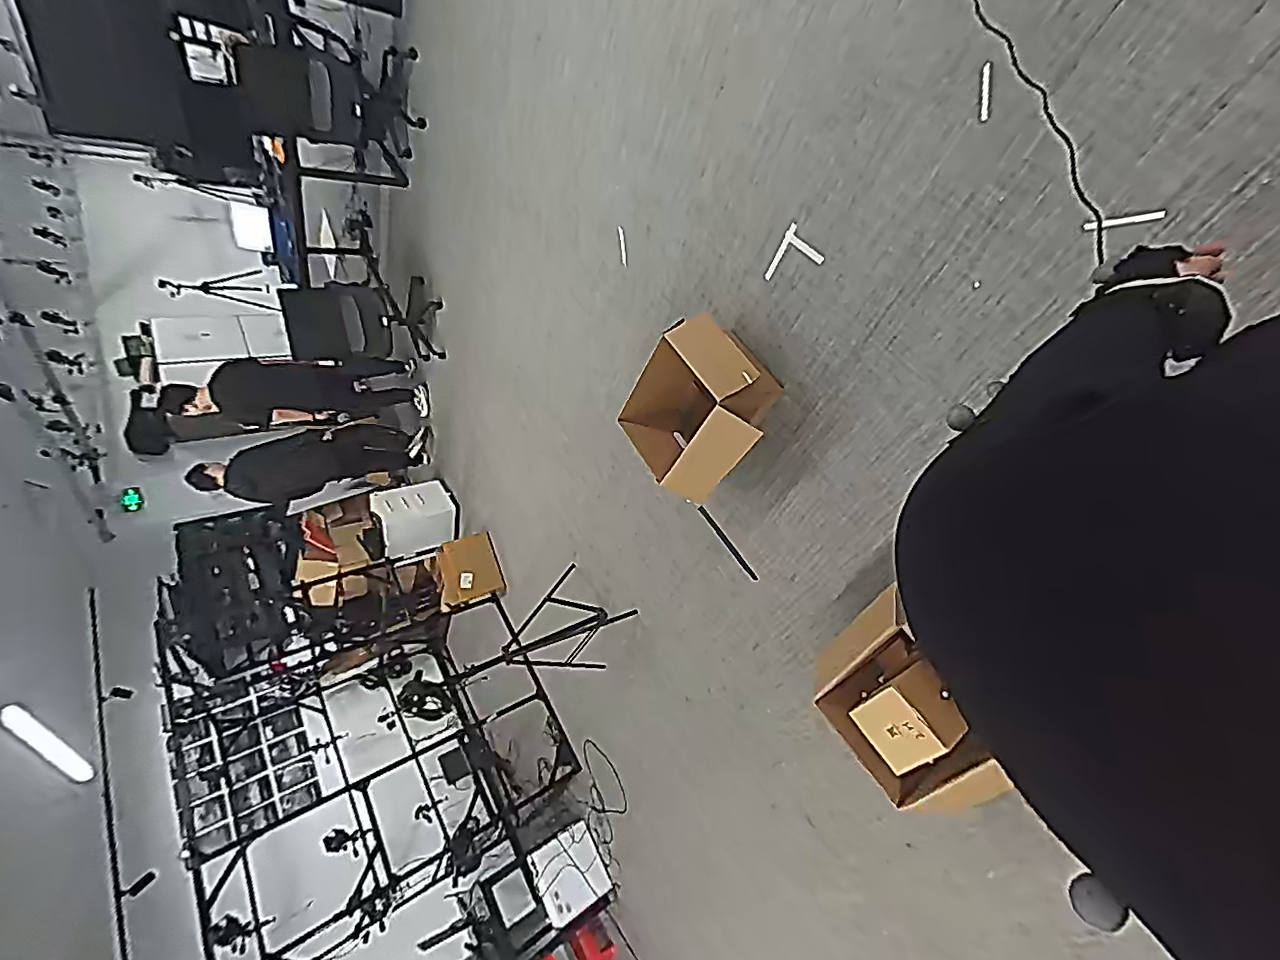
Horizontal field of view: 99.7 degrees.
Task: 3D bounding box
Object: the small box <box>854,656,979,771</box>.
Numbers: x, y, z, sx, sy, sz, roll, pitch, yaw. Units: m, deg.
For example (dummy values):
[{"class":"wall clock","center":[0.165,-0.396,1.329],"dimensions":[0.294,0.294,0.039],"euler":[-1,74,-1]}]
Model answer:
[{"class":"small box","center":[0.663,0.556,1.298],"dimensions":[0.168,0.176,0.179],"euler":[53,139,27]}]
